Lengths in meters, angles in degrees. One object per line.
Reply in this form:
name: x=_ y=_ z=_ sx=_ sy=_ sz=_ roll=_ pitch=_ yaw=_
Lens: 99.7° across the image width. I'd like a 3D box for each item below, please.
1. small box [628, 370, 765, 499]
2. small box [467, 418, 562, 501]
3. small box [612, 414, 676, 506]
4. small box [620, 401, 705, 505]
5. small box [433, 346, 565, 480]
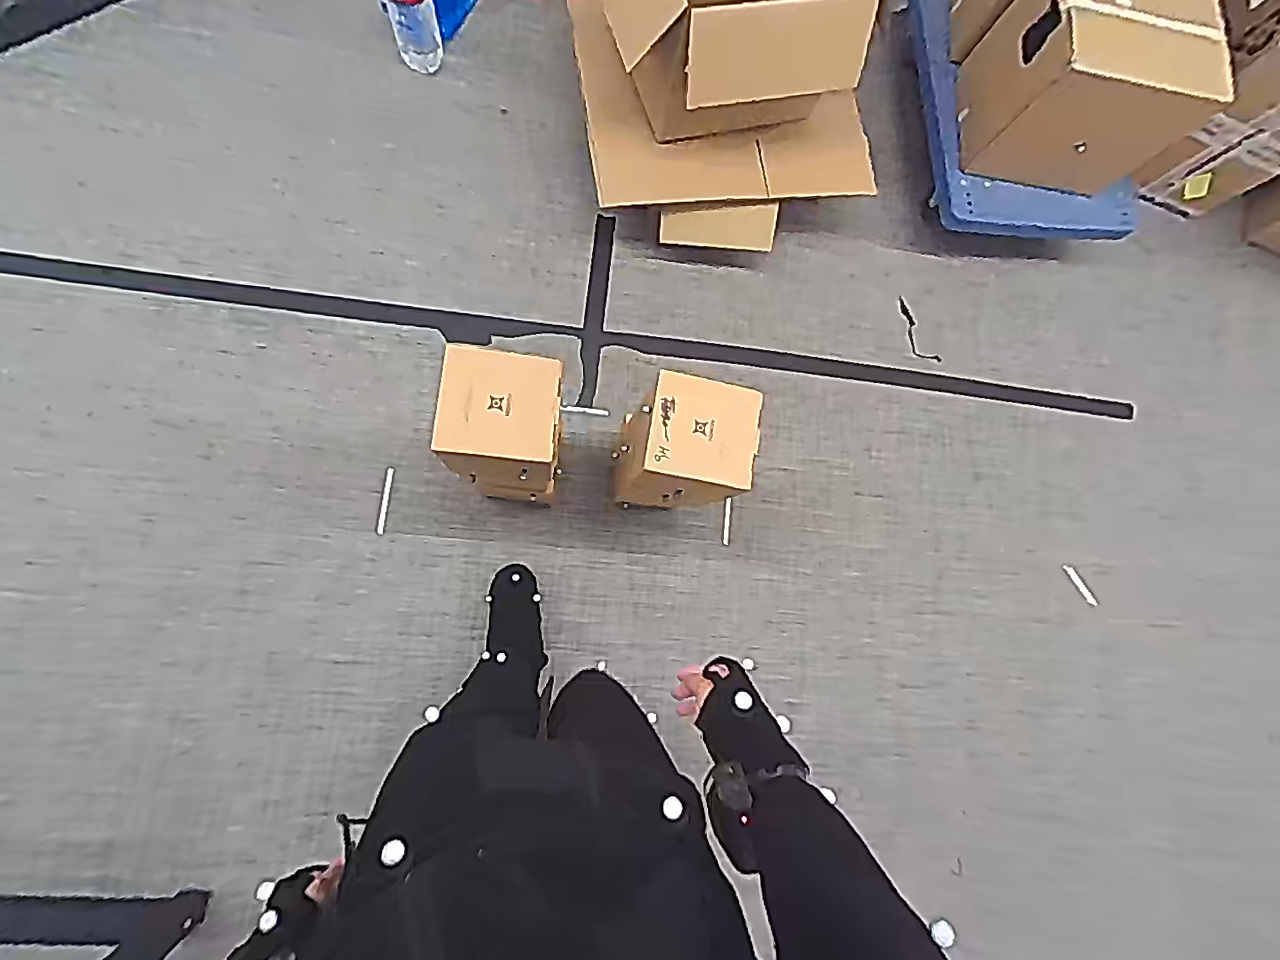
small box: x=0.089 y=-0.066 z=0.921 sx=0.179 sy=0.176 sz=0.168 roll=12 pitch=80 yaw=-9
small box: x=-0.270 y=-0.050 z=1.194 sx=0.179 sy=0.176 sz=0.168 roll=7 pitch=80 yaw=-9
small box: x=0.030 y=-0.039 z=1.243 sx=0.168 sy=0.176 sz=0.179 roll=6 pitch=80 yaw=-9
small box: x=0.061 y=-0.045 z=1.081 sx=0.179 sy=0.176 sz=0.168 roll=8 pitch=81 yaw=-9
small box: x=-0.219 y=-0.097 z=0.874 sx=0.179 sy=0.176 sz=0.168 roll=5 pitch=78 yaw=-9
